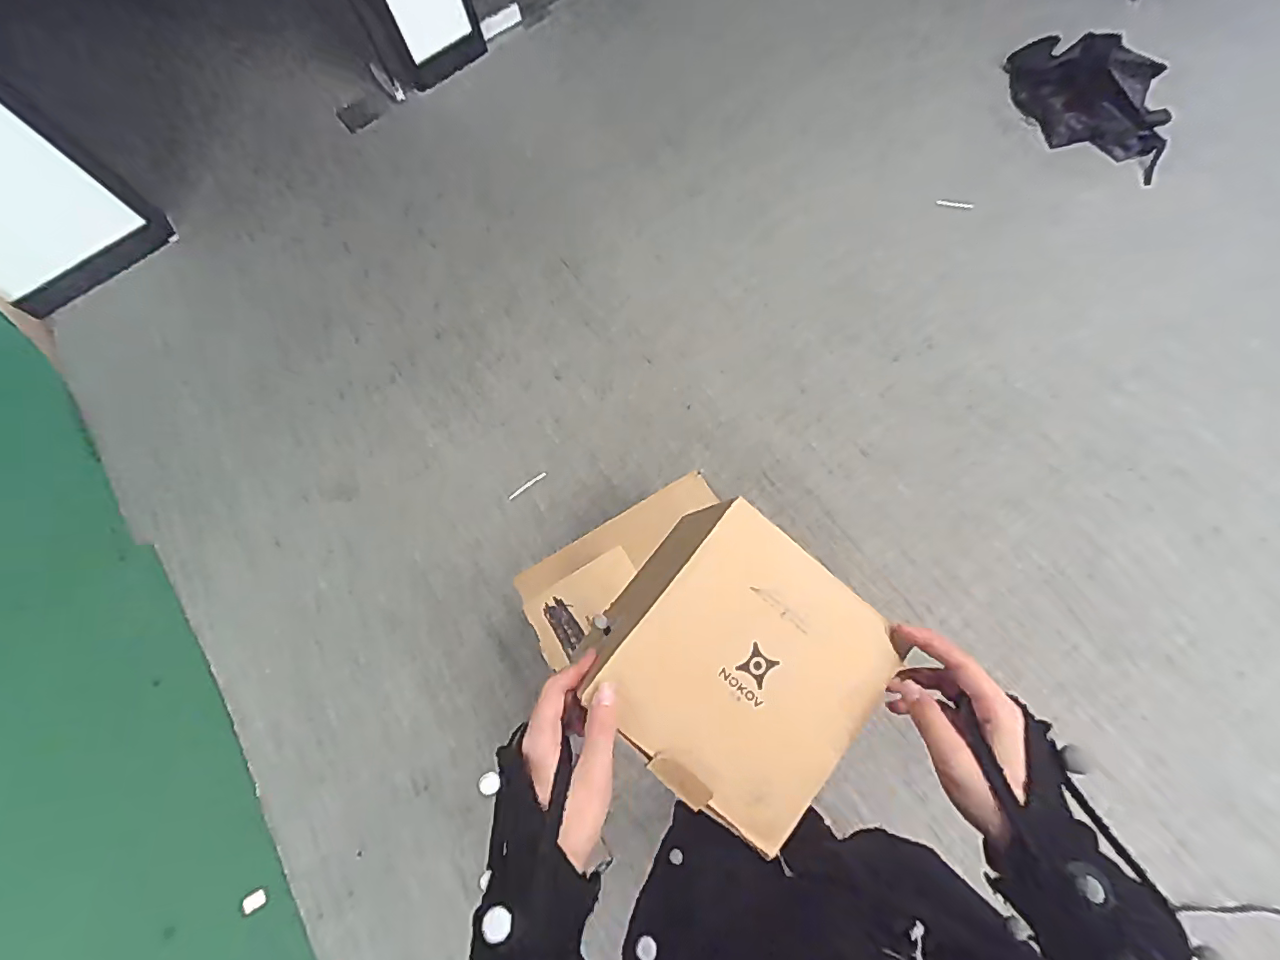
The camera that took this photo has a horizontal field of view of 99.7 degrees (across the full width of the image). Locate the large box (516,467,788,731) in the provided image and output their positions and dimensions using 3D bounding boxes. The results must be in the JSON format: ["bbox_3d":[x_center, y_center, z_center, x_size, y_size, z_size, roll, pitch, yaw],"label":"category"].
[{"bbox_3d":[0.025,0.246,1.102,0.408,0.320,0.320,-31,72,-6],"label":"large box"}]
